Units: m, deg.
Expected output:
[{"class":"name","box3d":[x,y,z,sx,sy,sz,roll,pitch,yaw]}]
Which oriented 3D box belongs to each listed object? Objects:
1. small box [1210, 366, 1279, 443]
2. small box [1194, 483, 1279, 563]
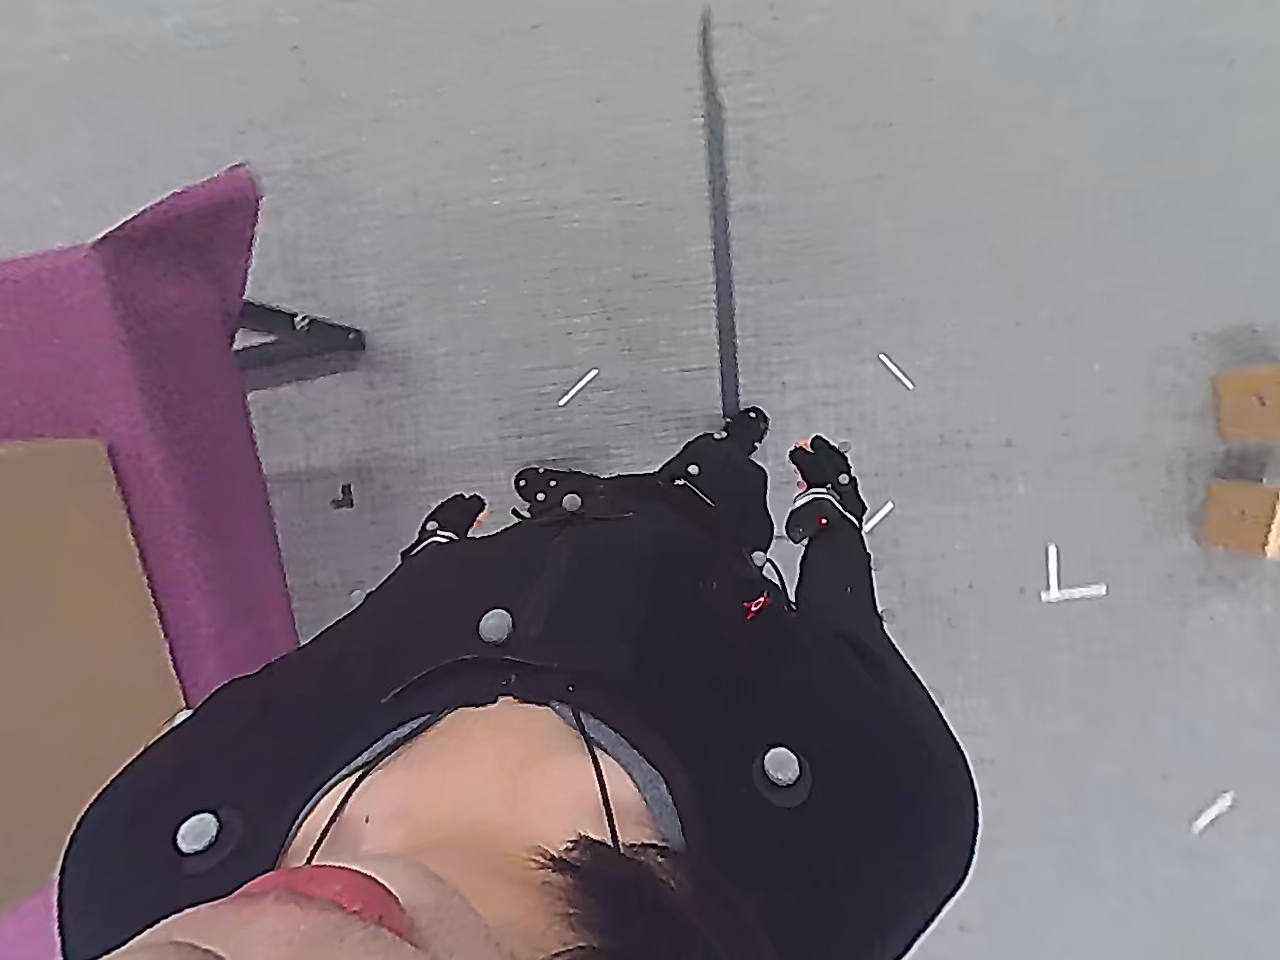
[{"class":"small box","box3d":[1.592,-0.191,1.350,0.168,0.176,0.179,-13,95,4]},{"class":"small box","box3d":[1.590,0.110,1.385,0.168,0.176,0.179,5,96,1]}]
